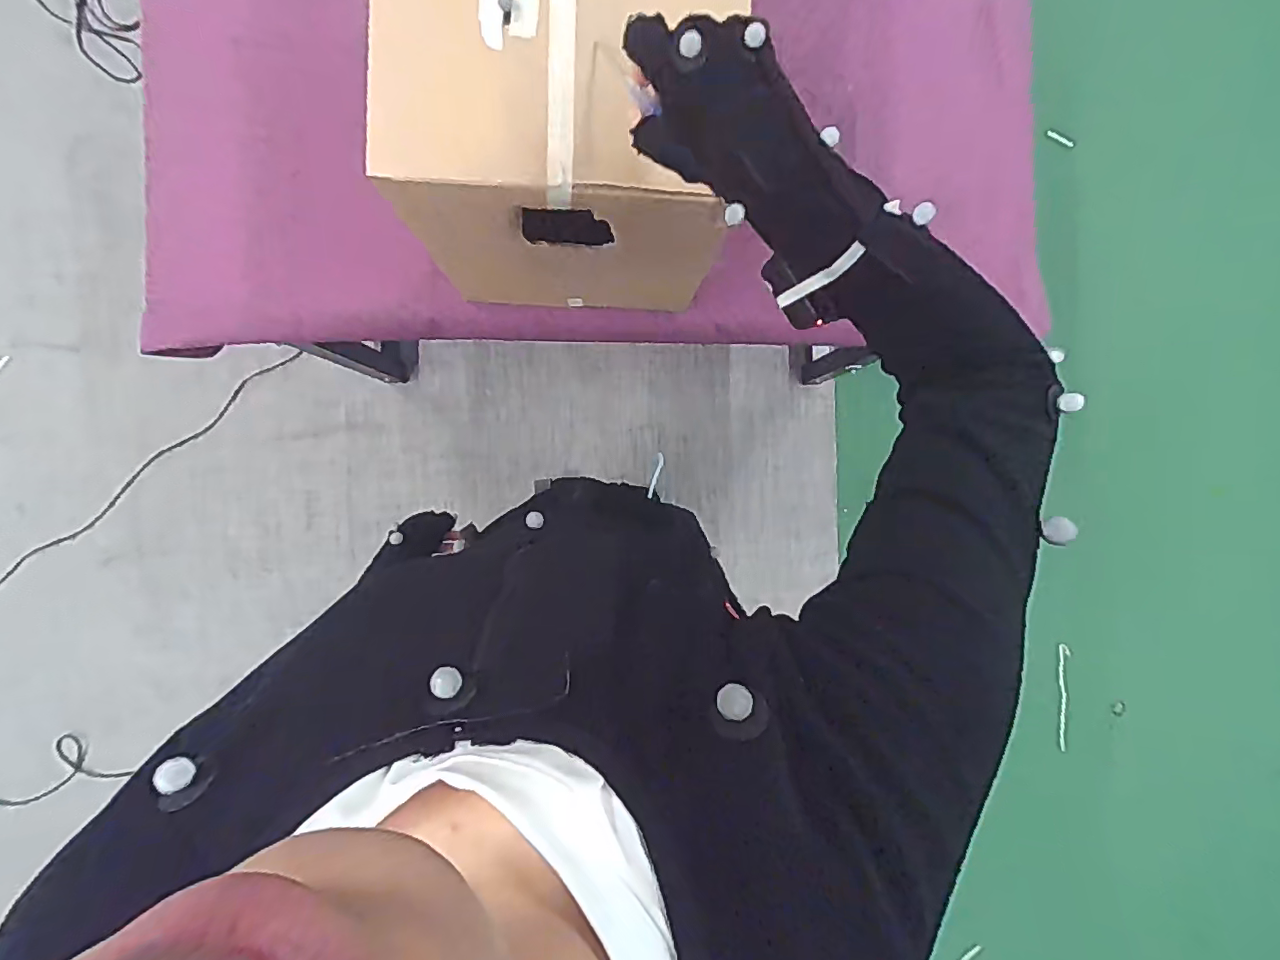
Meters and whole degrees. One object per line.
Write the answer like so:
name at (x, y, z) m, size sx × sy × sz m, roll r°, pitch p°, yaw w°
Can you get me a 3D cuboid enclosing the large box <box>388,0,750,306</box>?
large box at (-0.069, -0.448, 0.611) m, size 0.320 × 0.320 × 0.408 m, roll 2°, pitch 91°, yaw -4°
